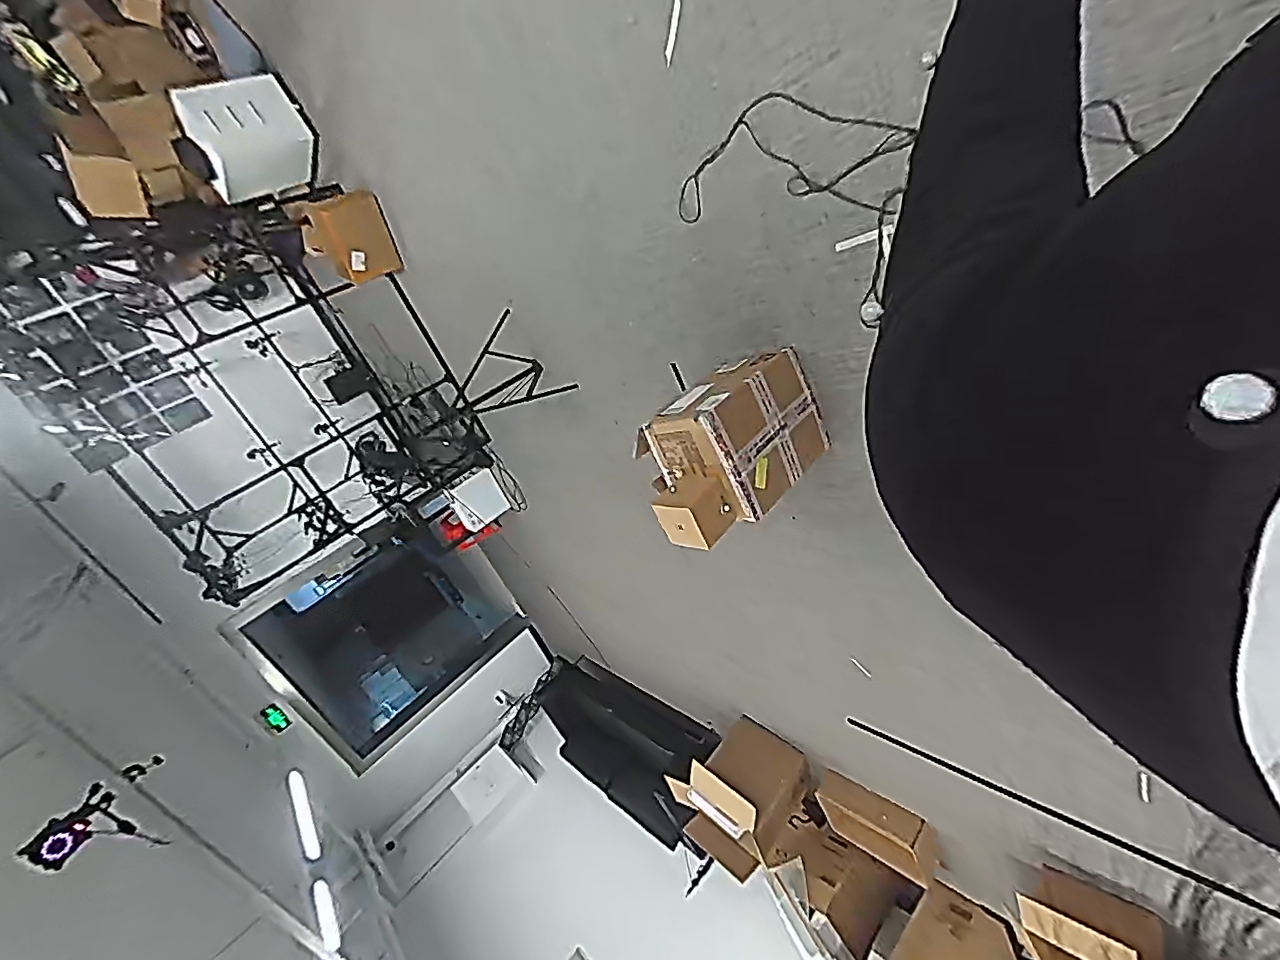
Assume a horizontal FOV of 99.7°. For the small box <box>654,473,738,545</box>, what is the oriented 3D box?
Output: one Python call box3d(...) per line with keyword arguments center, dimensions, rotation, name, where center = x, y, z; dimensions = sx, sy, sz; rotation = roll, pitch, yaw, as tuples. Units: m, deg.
box3d(center=(0.185, 0.088, 1.746), dimensions=(0.179, 0.176, 0.168), rotation=(1, 126, 49), name="small box")
